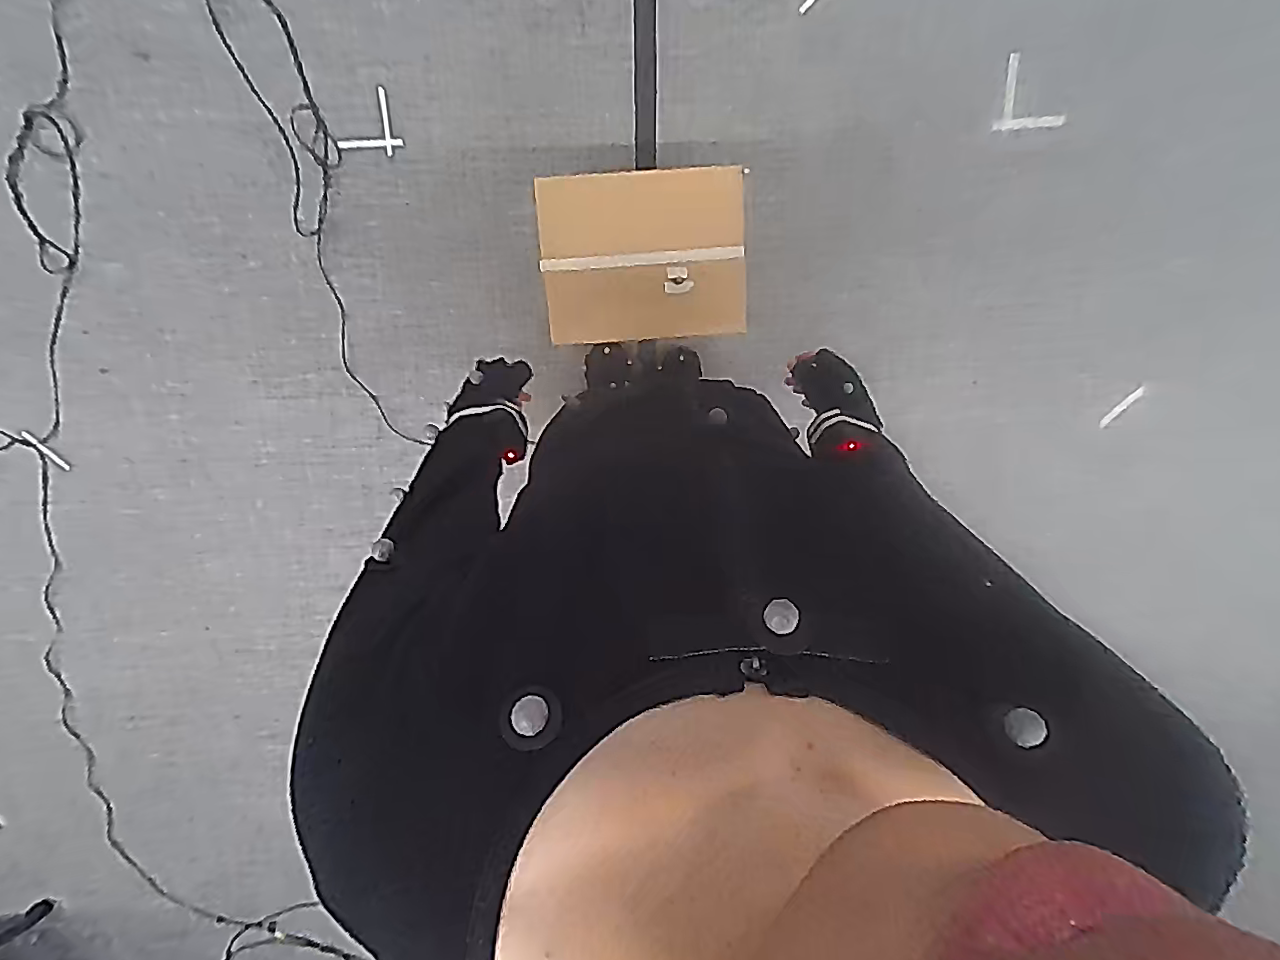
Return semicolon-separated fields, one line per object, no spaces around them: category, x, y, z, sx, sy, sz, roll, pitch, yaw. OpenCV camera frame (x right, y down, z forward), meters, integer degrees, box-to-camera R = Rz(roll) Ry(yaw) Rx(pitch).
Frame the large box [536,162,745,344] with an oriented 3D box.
large box;0.001;-0.486;1.221;0.408;0.320;0.320;-5;106;-1
